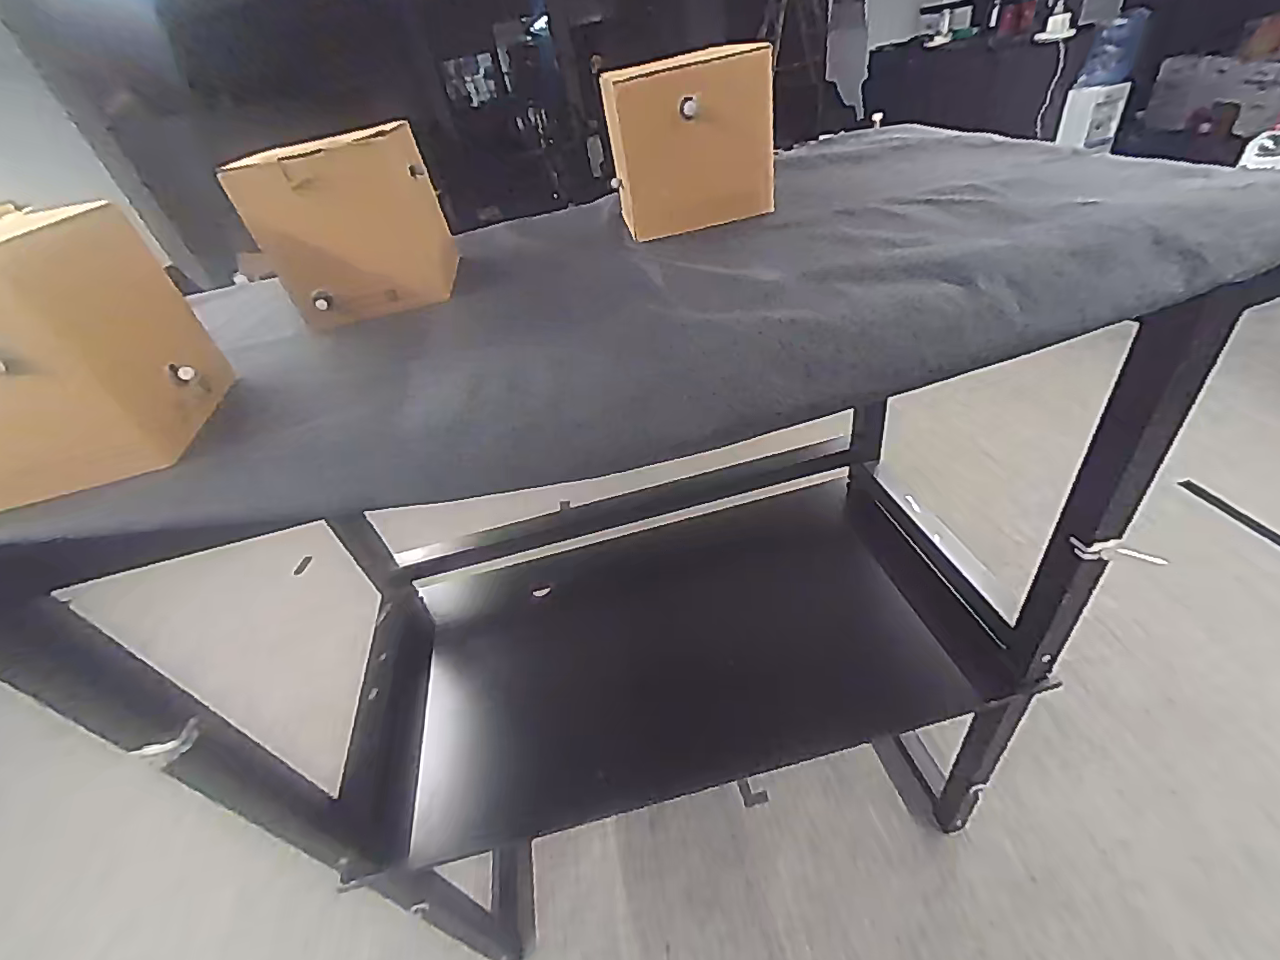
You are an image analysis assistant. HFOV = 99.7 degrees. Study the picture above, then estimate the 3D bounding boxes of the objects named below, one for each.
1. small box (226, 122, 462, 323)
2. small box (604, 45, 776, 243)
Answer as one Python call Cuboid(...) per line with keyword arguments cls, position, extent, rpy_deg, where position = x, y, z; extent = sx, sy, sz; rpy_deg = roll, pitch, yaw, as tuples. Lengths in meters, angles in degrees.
Cuboid(cls="small box", position=(-0.324, -0.301, 0.639), extent=(0.168, 0.176, 0.179), rpy_deg=(-15, 38, -2))
Cuboid(cls="small box", position=(0.061, -0.419, 0.675), extent=(0.179, 0.176, 0.168), rpy_deg=(-13, 39, 1))
